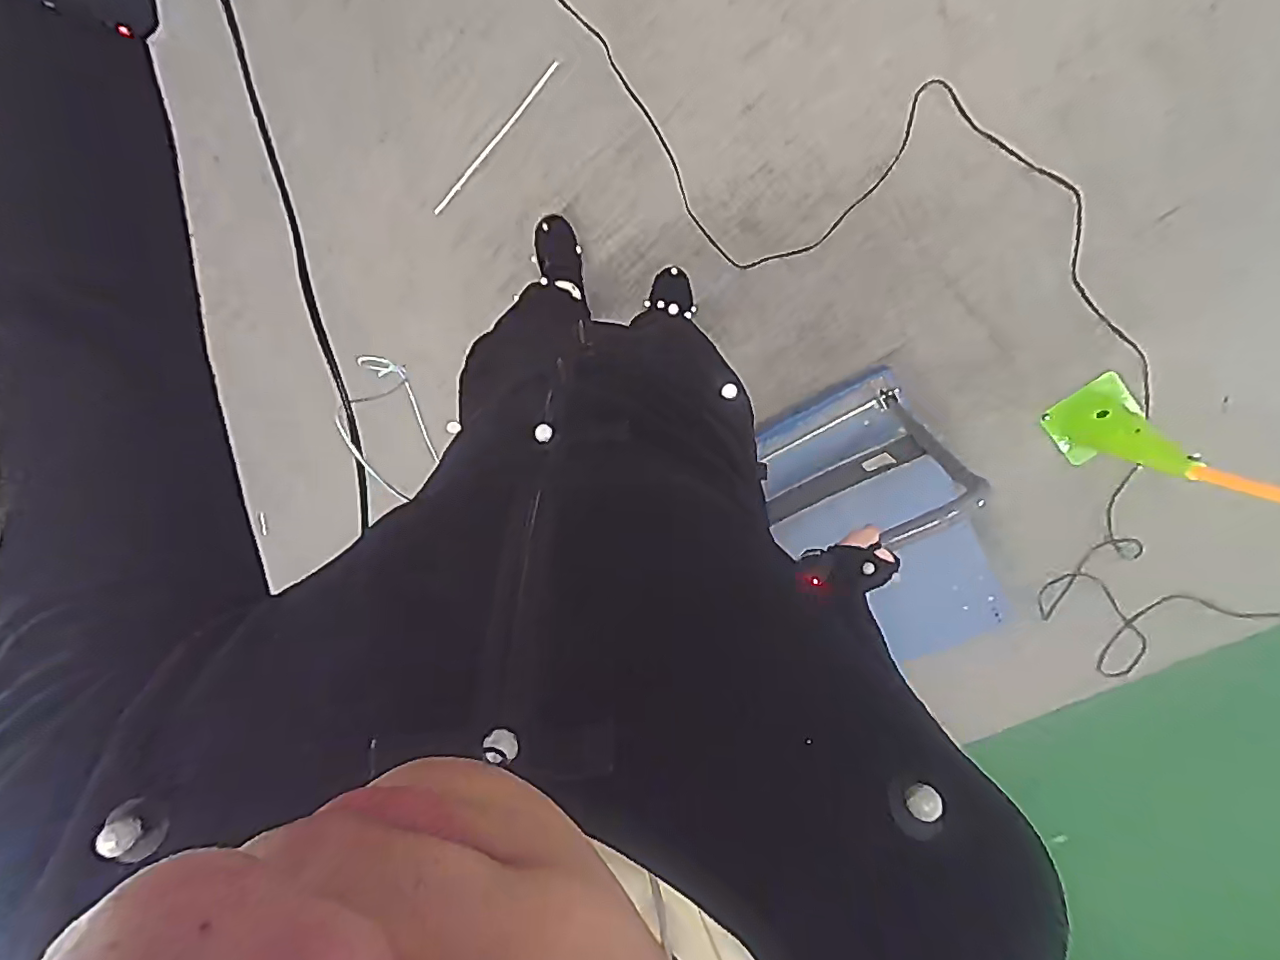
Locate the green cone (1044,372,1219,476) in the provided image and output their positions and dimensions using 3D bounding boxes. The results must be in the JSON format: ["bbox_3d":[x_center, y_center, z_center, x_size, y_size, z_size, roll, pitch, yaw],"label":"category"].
[{"bbox_3d":[1.201,-0.091,1.290,0.202,0.368,0.200,-41,104,21],"label":"green cone"}]
